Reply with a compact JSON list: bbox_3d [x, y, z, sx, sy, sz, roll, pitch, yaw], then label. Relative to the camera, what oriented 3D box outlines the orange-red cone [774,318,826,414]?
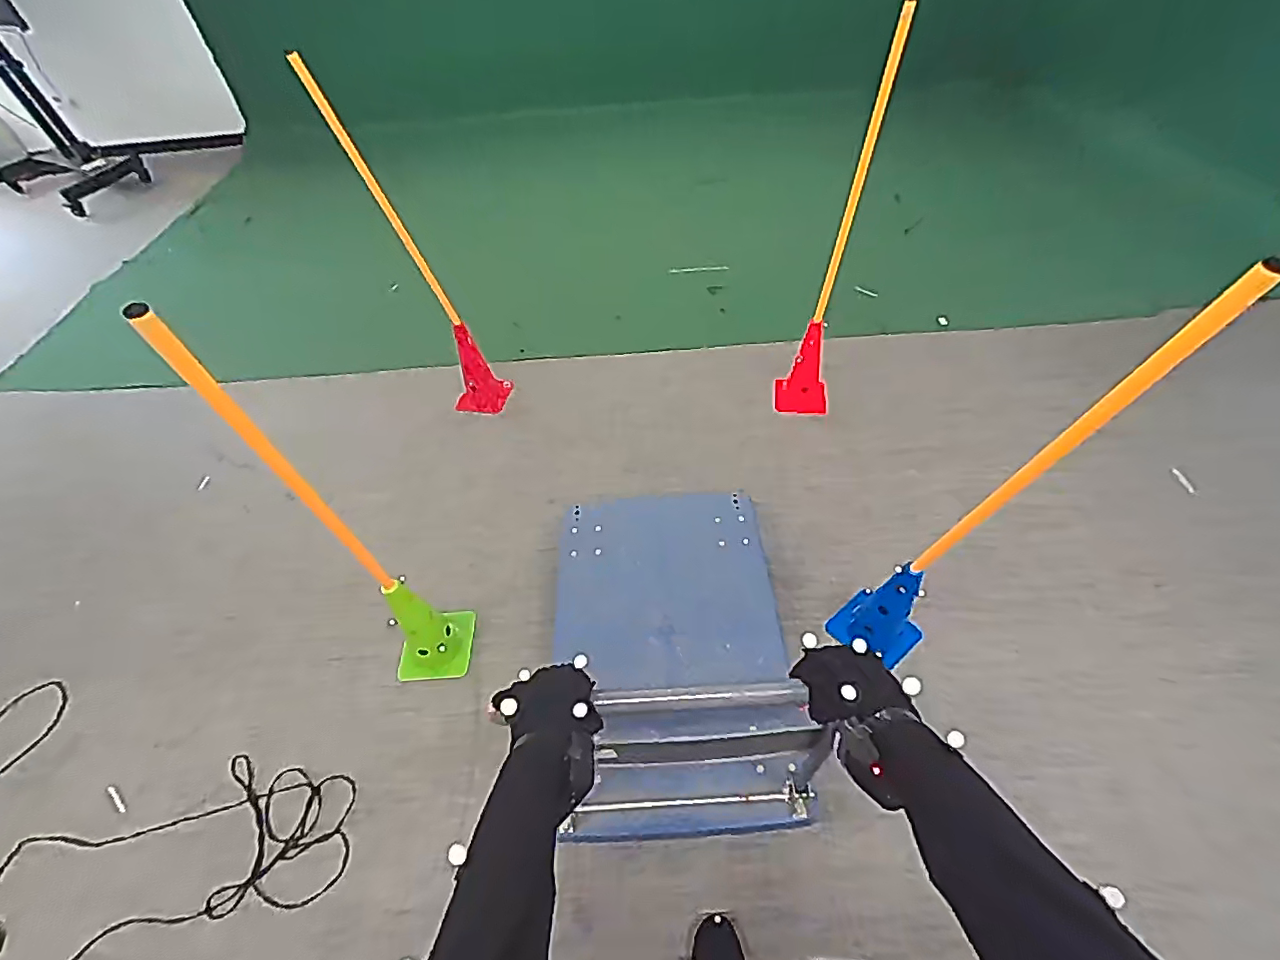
[{"bbox_3d":[0.625,-0.441,2.020,0.198,0.360,0.199,5,52,9],"label":"orange-red cone"}]
